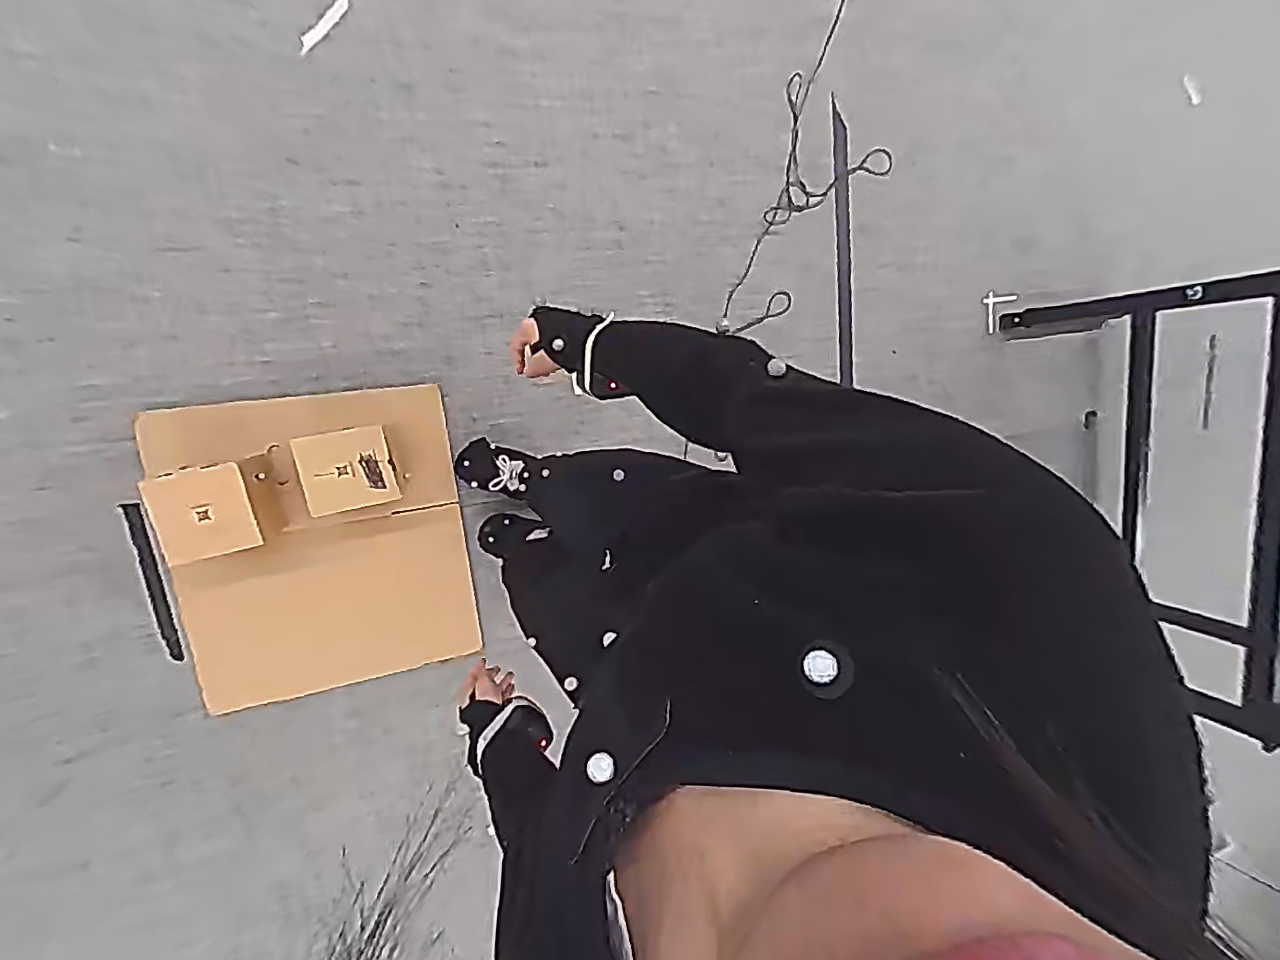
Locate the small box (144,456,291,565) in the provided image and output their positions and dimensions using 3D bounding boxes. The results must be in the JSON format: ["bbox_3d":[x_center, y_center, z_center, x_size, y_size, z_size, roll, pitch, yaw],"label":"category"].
[{"bbox_3d":[-0.855,0.052,1.115,0.168,0.176,0.179,-15,103,-15],"label":"small box"}]

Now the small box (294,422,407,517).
[{"bbox_3d":[-0.619,-0.031,1.183,0.179,0.176,0.168,-13,102,-17],"label":"small box"}]
